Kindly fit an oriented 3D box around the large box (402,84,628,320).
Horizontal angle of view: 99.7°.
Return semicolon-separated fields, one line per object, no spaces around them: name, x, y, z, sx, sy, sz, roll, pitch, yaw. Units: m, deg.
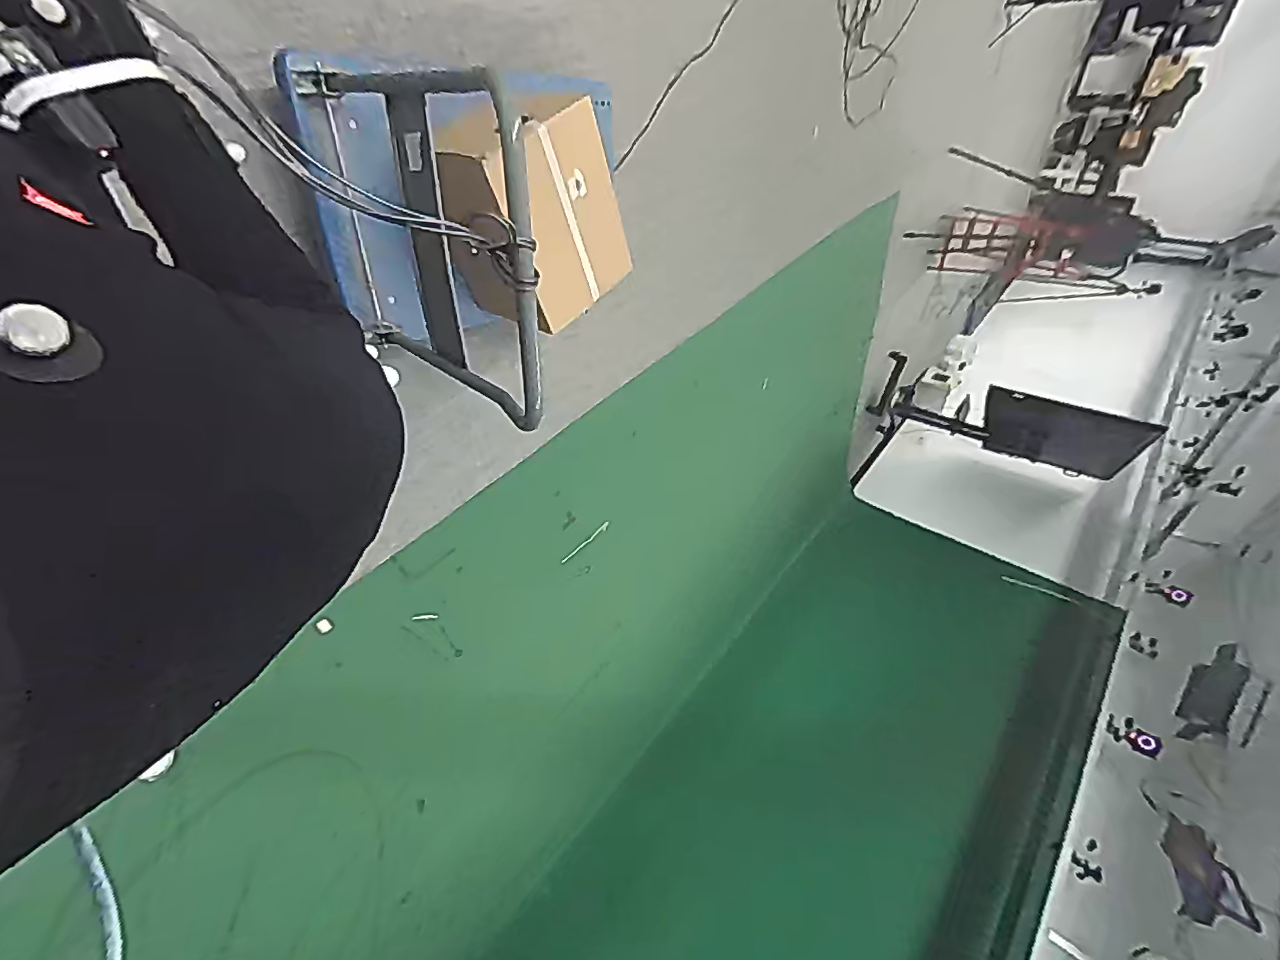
large box;-0.282;-0.669;1.312;0.320;0.320;0.408;-47;144;-22
